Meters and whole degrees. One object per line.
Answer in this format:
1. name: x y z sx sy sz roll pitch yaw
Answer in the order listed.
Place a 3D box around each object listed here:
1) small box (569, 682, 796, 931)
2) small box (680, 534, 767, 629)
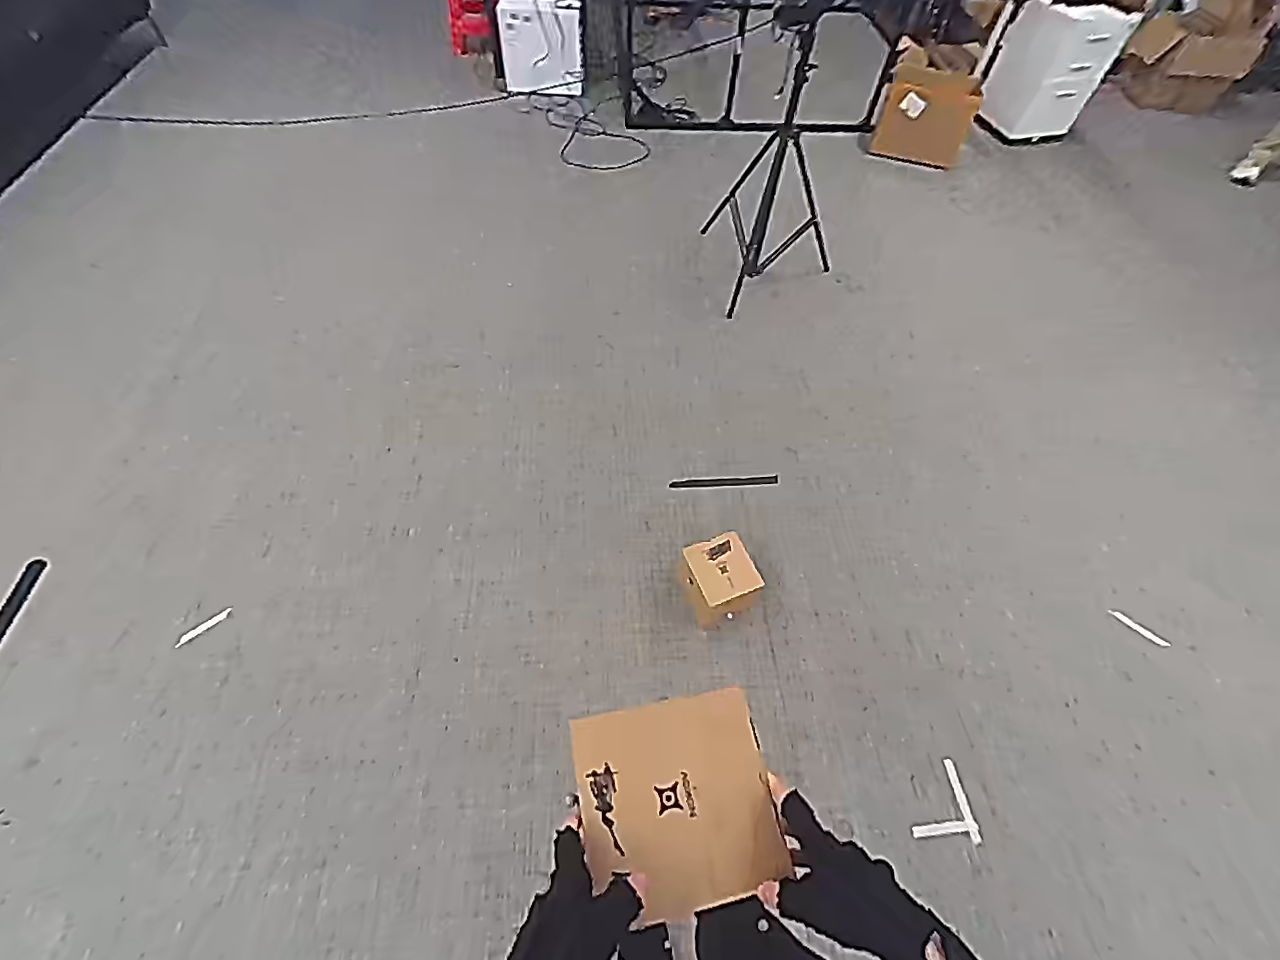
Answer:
1. small box: 0.025 0.318 0.548 0.179 0.176 0.168 -7 59 -12
2. small box: 0.220 0.282 1.492 0.168 0.176 0.179 -18 59 -14
